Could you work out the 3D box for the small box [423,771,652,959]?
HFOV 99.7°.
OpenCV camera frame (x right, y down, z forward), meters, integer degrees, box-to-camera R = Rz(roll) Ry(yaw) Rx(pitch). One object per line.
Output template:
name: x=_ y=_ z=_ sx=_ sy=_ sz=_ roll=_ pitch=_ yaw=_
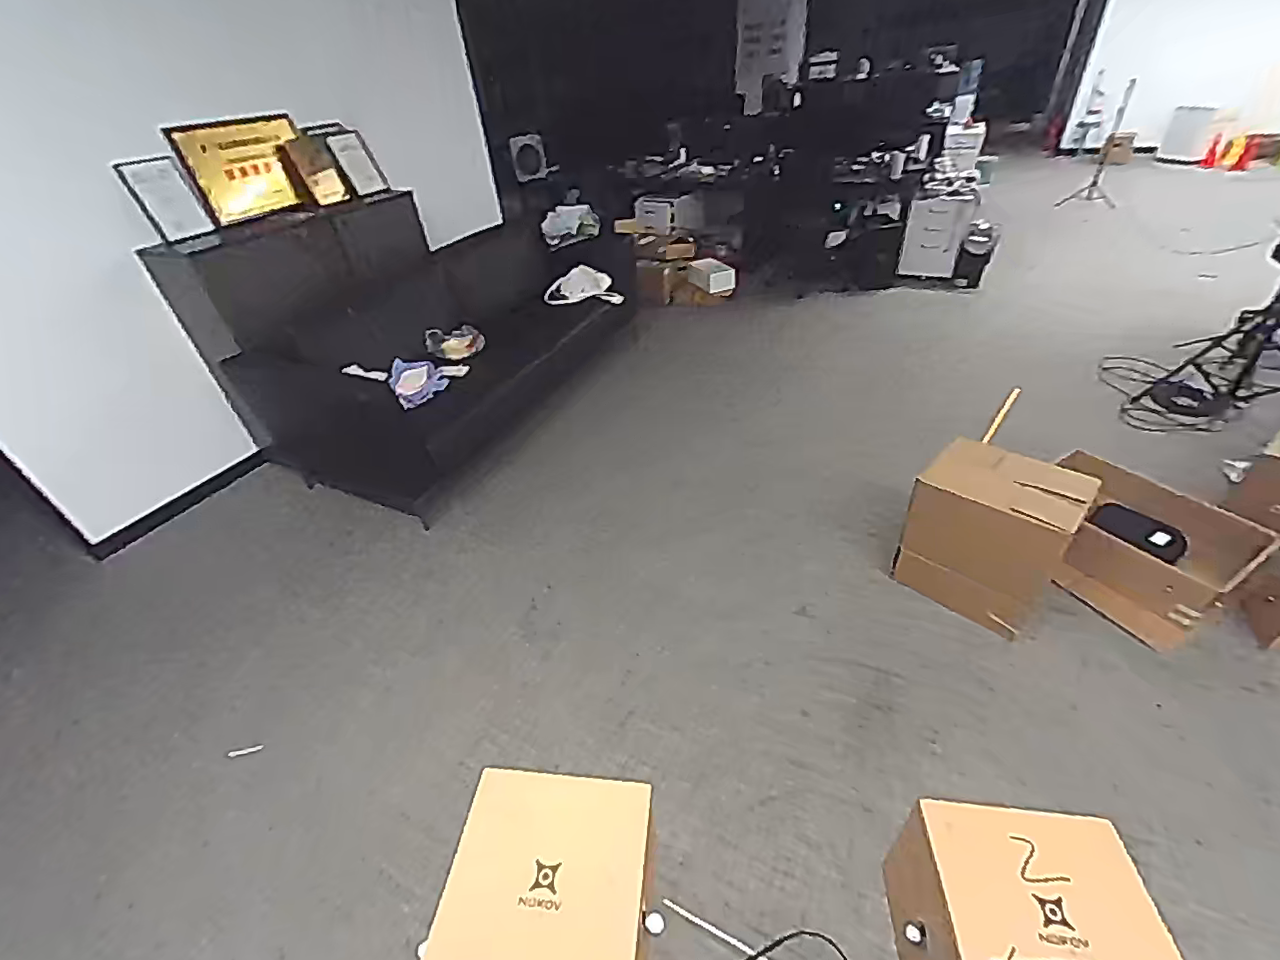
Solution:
small box: x=-0.079 y=0.406 z=0.504 sx=0.168 sy=0.176 sz=0.179 roll=2 pitch=38 yaw=6
